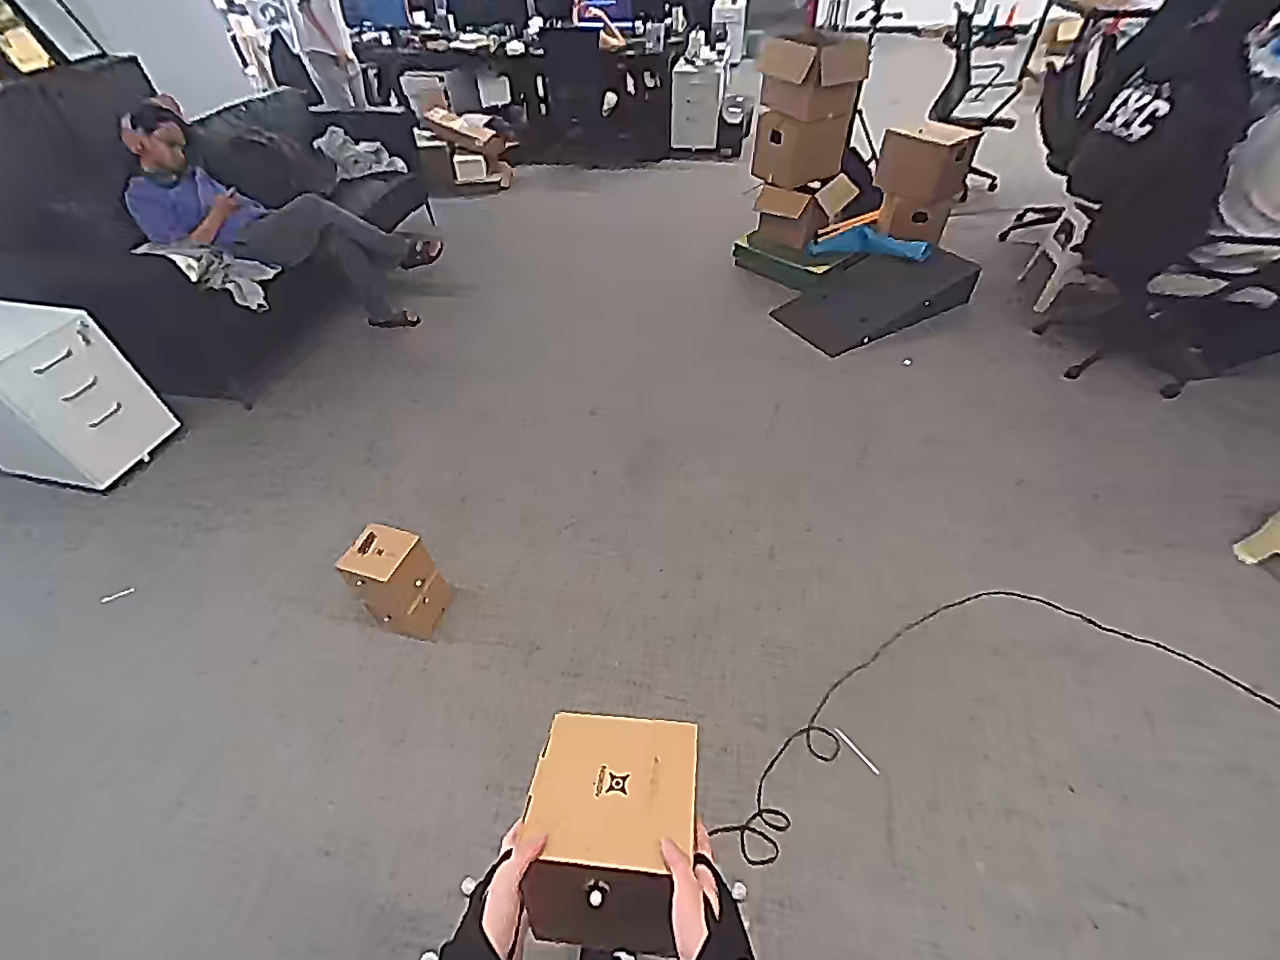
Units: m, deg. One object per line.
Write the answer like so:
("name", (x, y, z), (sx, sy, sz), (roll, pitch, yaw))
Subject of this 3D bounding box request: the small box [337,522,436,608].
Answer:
("small box", (-0.738, 0.254, 1.594), (0.179, 0.176, 0.168), (13, 48, 14))

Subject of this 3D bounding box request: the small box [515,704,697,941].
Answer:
("small box", (-0.025, 0.387, 0.621), (0.179, 0.176, 0.168), (2, 28, 6))

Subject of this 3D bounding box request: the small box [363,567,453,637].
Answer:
("small box", (-0.724, 0.372, 1.709), (0.179, 0.176, 0.168), (11, 47, 13))
